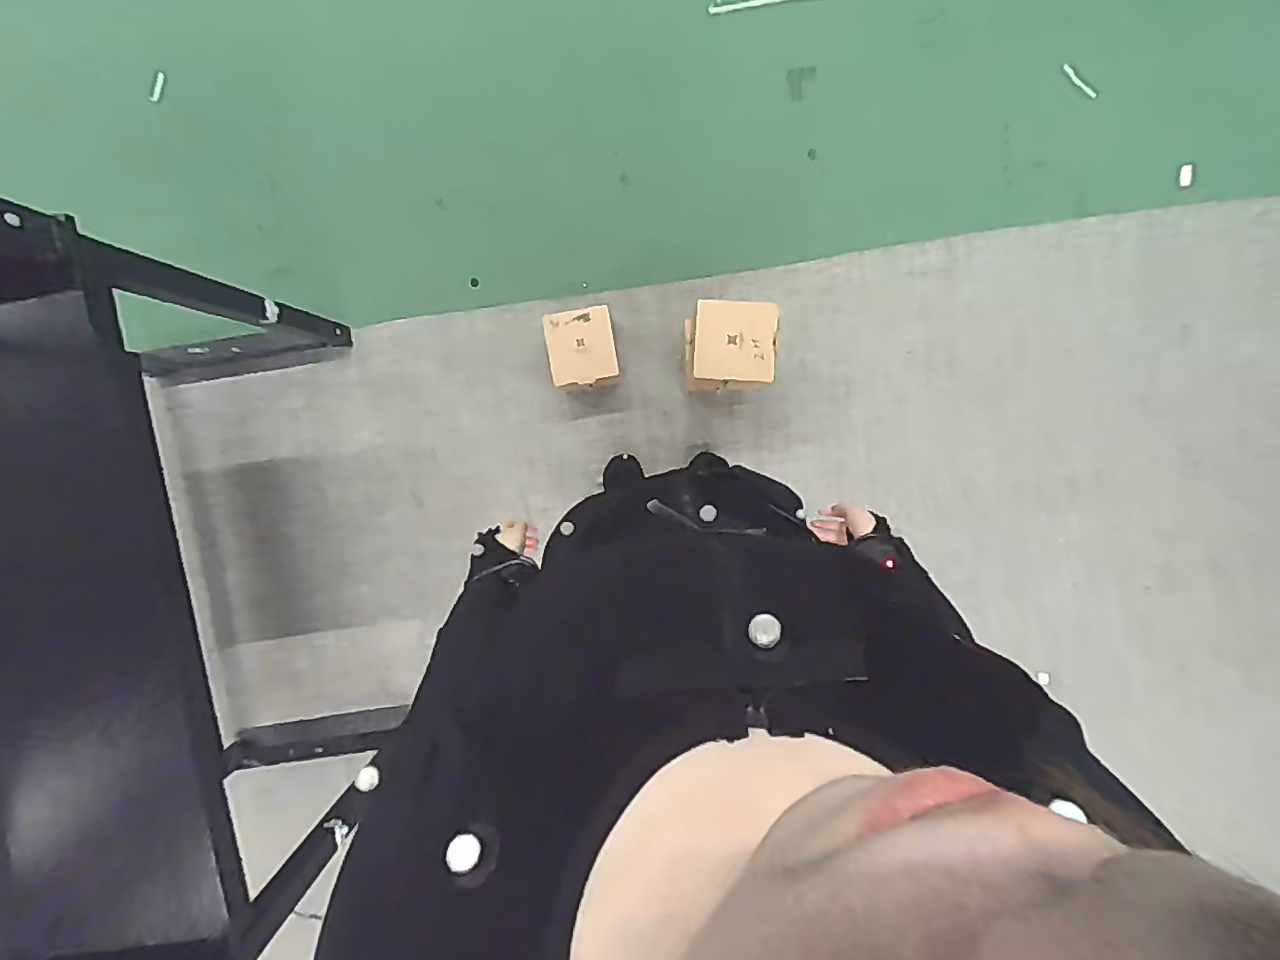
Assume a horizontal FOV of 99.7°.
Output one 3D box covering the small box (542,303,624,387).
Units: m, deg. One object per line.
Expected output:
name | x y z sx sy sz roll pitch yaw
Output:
small box | -0.138 -0.334 1.374 0.168 0.176 0.179 -10 95 2

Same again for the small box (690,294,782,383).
small box | 0.205 -0.307 1.203 0.179 0.176 0.168 3 96 1
